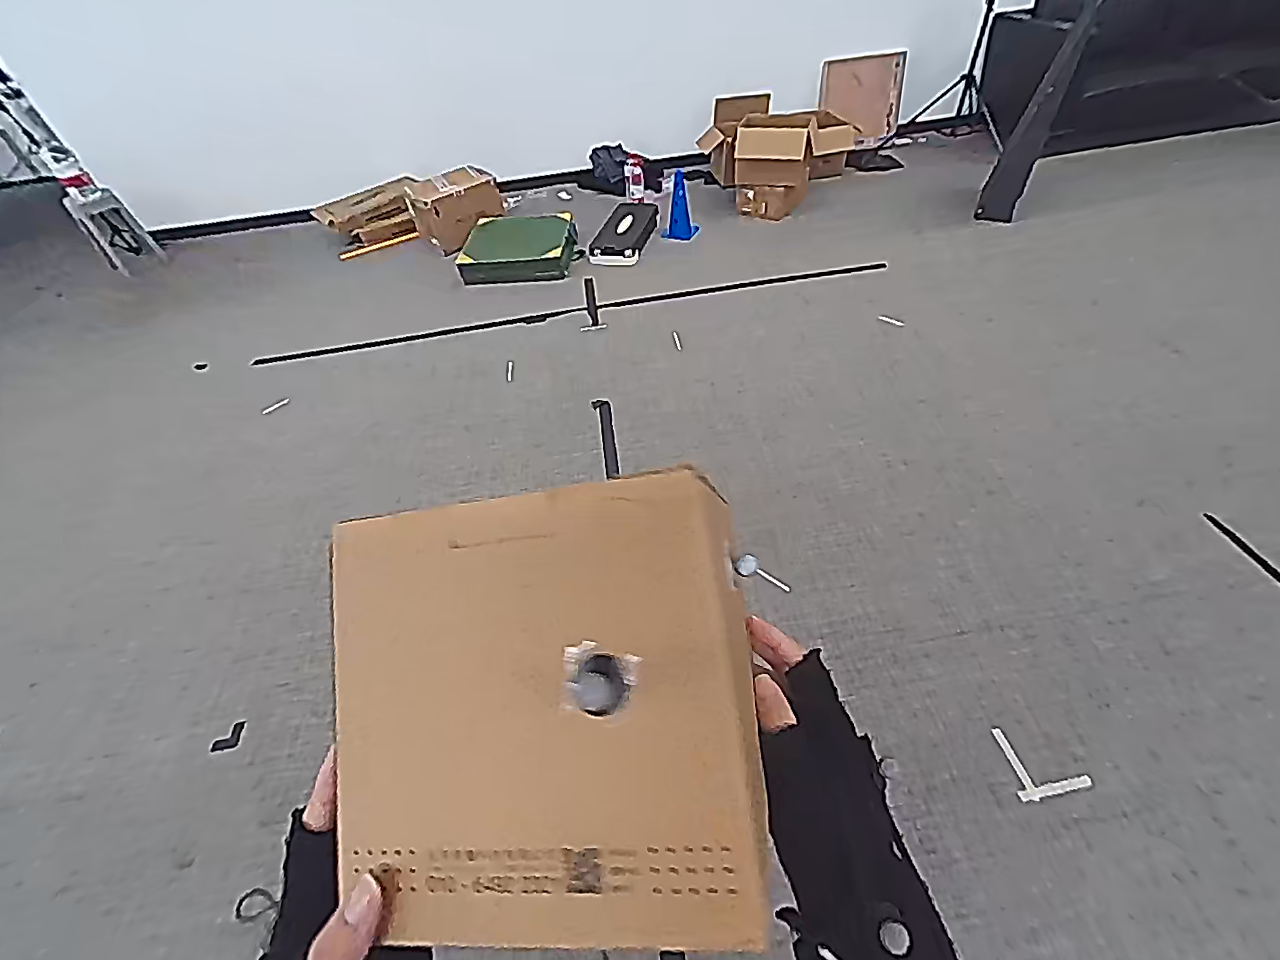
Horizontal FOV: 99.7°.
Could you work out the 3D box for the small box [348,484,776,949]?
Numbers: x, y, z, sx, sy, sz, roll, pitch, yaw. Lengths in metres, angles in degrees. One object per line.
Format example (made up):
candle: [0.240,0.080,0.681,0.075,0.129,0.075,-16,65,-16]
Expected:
small box: [-0.023,0.105,0.291,0.168,0.179,0.176,-7,81,11]
